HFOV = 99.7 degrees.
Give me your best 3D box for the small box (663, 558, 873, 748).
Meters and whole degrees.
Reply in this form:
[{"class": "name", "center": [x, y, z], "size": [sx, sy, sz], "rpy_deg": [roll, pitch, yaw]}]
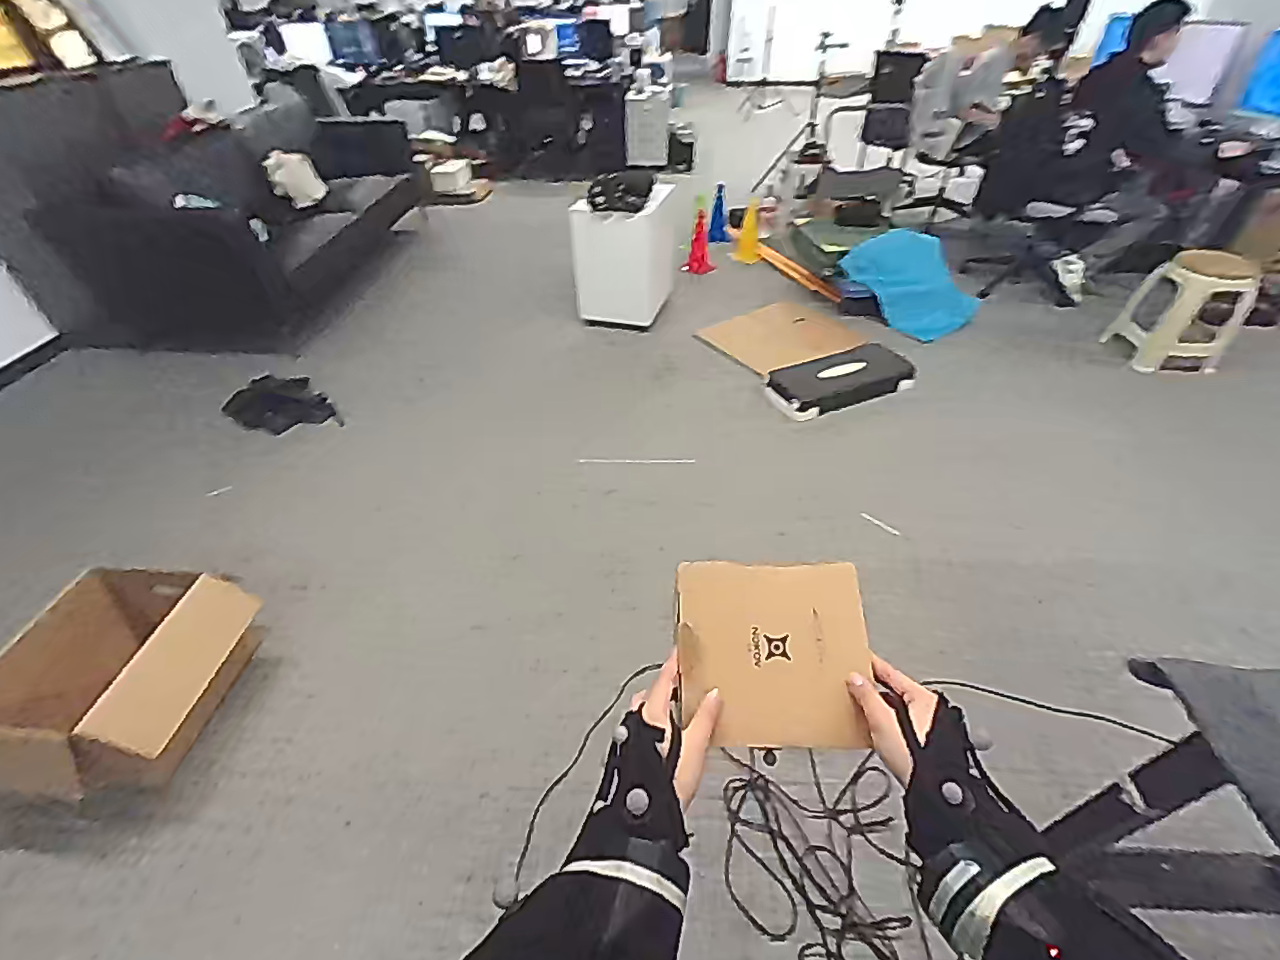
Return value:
[{"class": "small box", "center": [0.112, 0.185, 0.561], "size": [0.179, 0.176, 0.168], "rpy_deg": [0, 64, 1]}]
